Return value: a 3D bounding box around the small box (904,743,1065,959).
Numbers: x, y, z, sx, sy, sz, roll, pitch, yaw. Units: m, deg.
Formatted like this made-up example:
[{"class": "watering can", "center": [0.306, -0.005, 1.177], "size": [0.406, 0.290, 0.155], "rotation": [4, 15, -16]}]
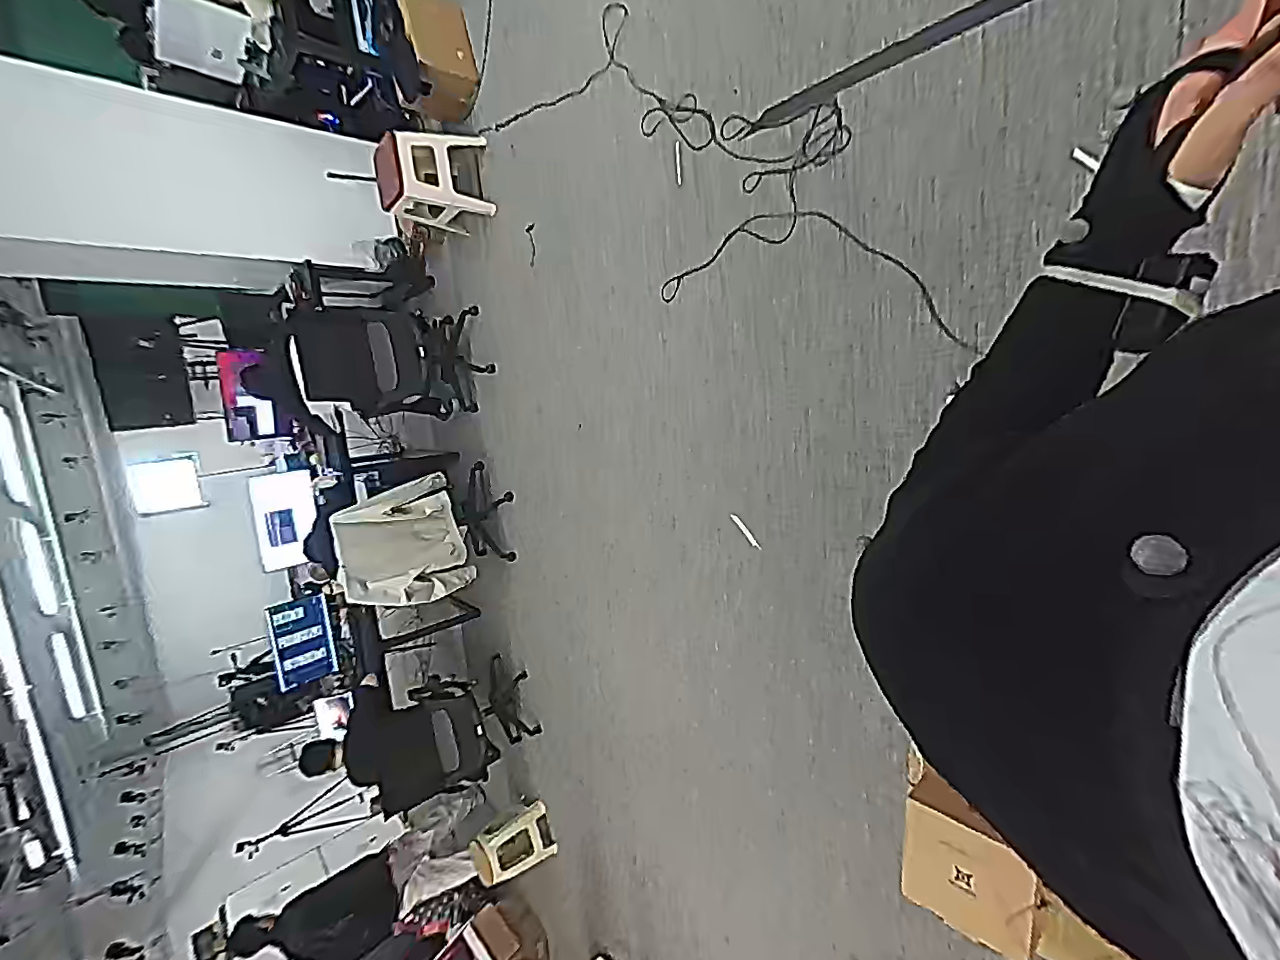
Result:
[{"class": "small box", "center": [0.519, 0.542, 0.816], "size": [0.168, 0.176, 0.179], "rotation": [7, 103, 47]}]
